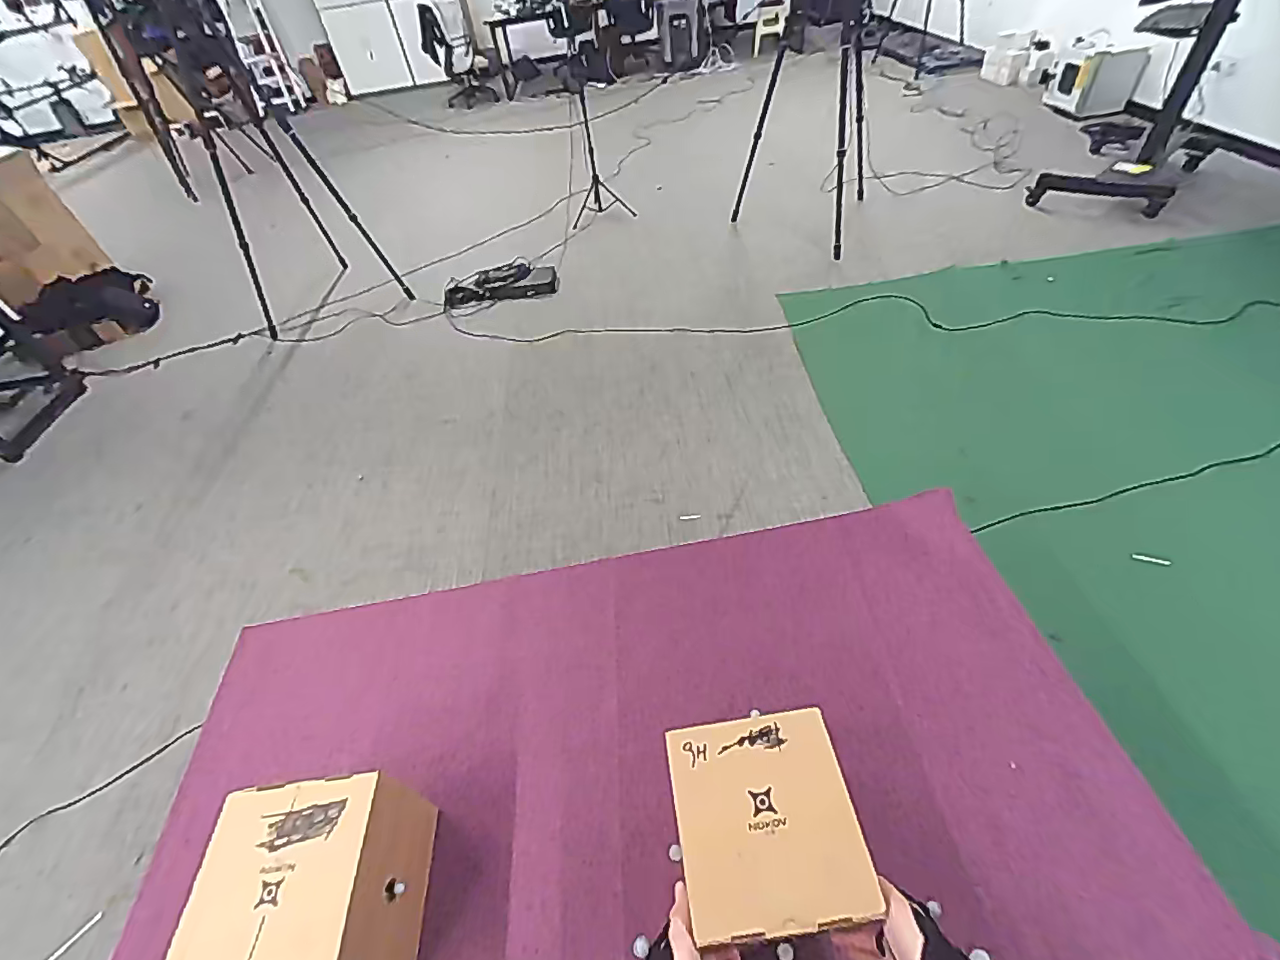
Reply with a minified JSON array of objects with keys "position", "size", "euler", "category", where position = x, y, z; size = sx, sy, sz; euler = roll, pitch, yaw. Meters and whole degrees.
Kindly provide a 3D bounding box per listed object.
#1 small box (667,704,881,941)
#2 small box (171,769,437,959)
[{"position":[0.127,0.362,0.570],"size":[0.168,0.176,0.179],"euler":[-9,48,1],"category":"small box"},{"position":[-0.335,0.434,0.577],"size":[0.168,0.176,0.179],"euler":[-9,48,1],"category":"small box"}]
